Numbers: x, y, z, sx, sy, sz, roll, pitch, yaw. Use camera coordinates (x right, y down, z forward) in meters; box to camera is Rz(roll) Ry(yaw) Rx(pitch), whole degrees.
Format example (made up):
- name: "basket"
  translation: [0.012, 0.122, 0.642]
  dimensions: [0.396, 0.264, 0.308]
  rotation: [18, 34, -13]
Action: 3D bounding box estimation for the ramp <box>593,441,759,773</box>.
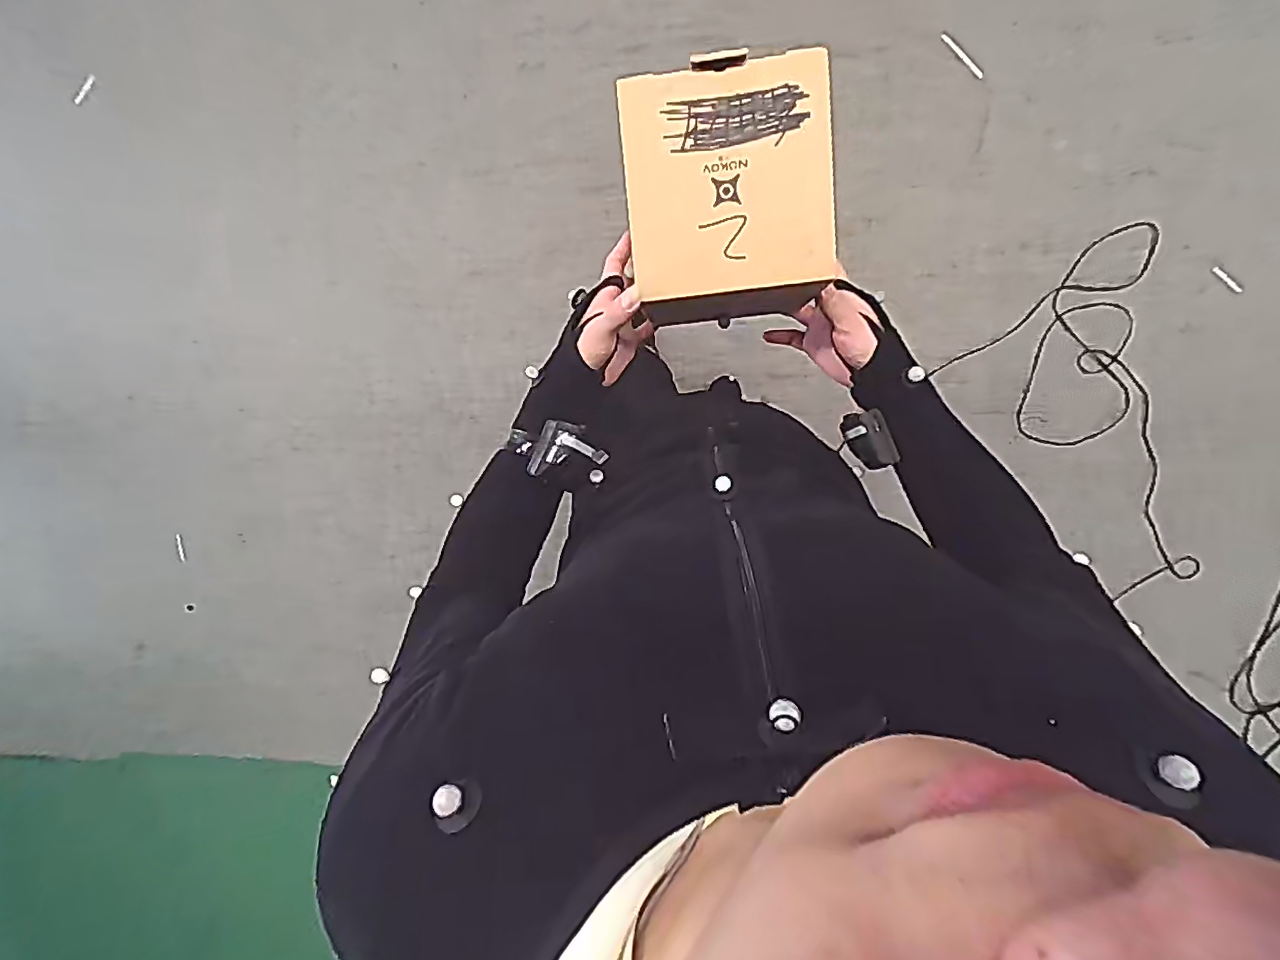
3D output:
- name: "ramp"
  translation: [0.106, 0.387, 1.635]
  dimensions: [0.509, 0.206, 0.991]
  rotation: [-2, 103, 8]
